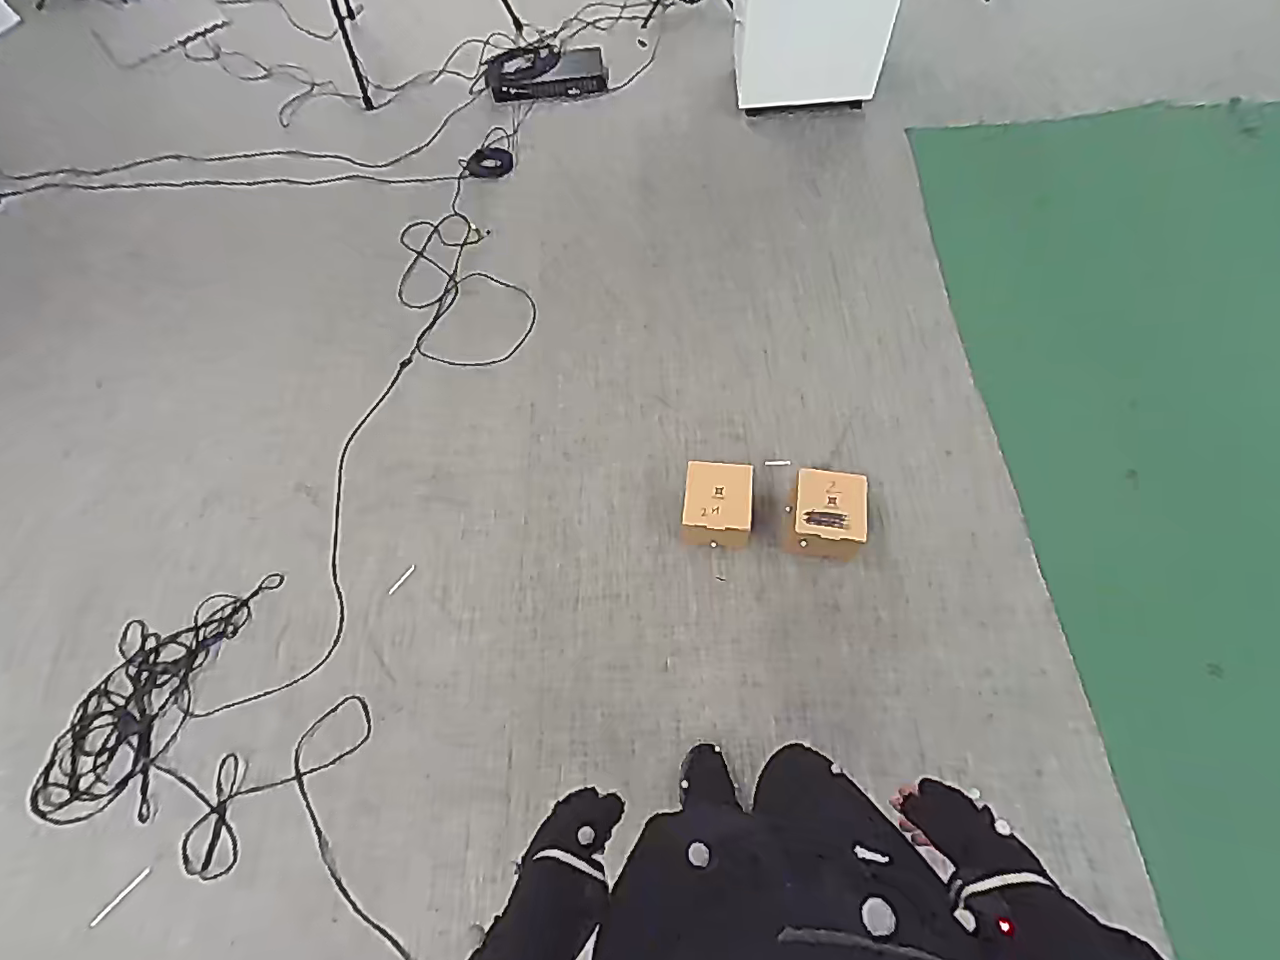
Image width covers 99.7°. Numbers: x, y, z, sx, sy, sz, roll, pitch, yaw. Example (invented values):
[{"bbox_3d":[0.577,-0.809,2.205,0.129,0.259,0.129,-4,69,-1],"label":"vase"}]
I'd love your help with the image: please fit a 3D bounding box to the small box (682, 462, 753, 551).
[{"bbox_3d":[0.200,0.073,1.410,0.168,0.176,0.179,4,67,8],"label":"small box"}]
